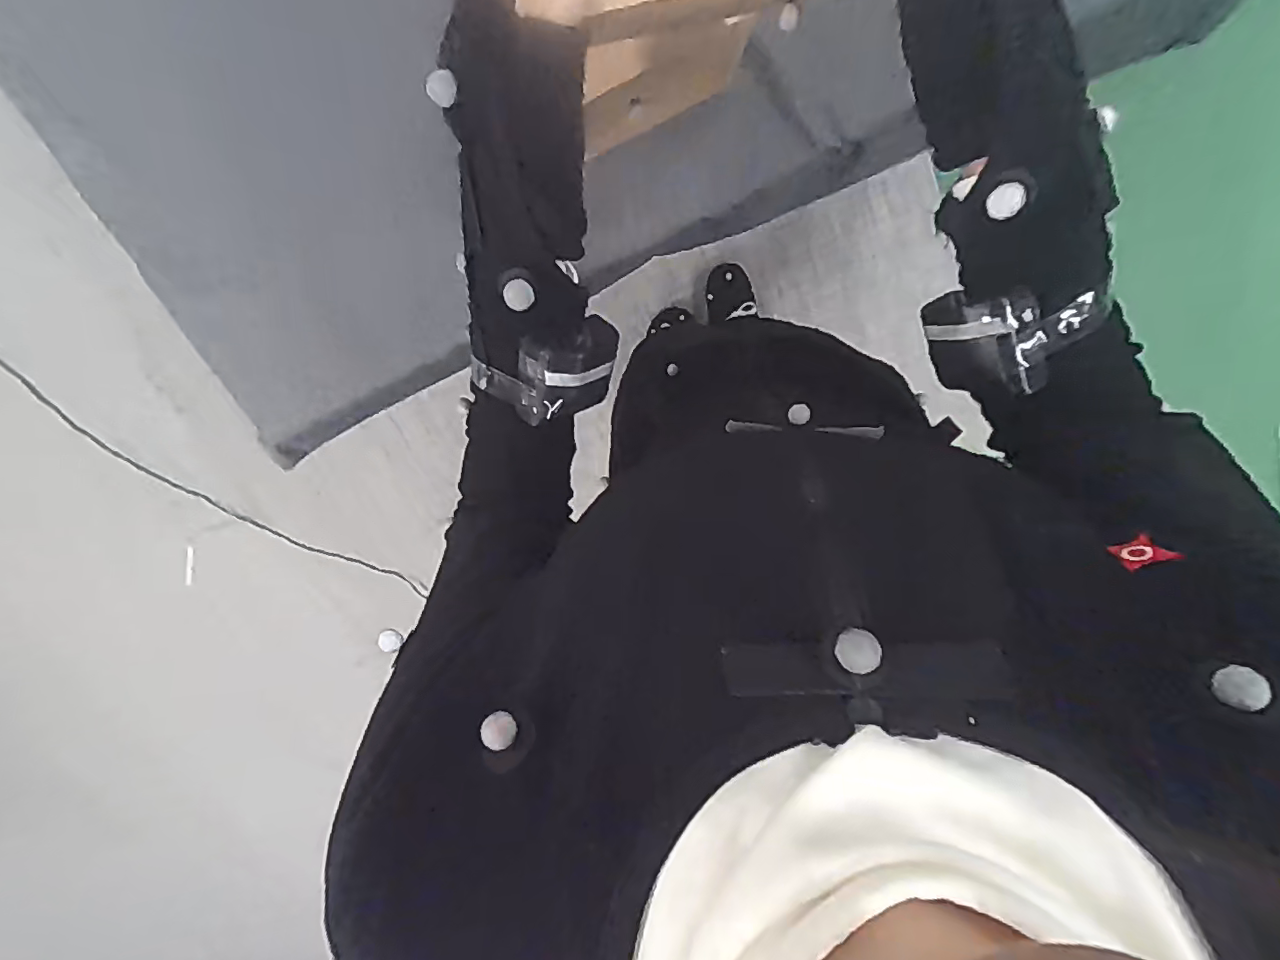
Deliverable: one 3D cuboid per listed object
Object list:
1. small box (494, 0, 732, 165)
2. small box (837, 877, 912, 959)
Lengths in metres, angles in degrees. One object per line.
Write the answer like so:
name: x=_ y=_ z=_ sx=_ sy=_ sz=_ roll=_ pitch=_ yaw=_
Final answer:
small box: x=-0.025 y=-0.412 z=0.474 sx=0.179 sy=0.176 sz=0.168 roll=-26 pitch=106 yaw=9
small box: x=0.813 y=1.529 z=1.890 sx=0.168 sy=0.176 sz=0.179 roll=-25 pitch=109 yaw=10
